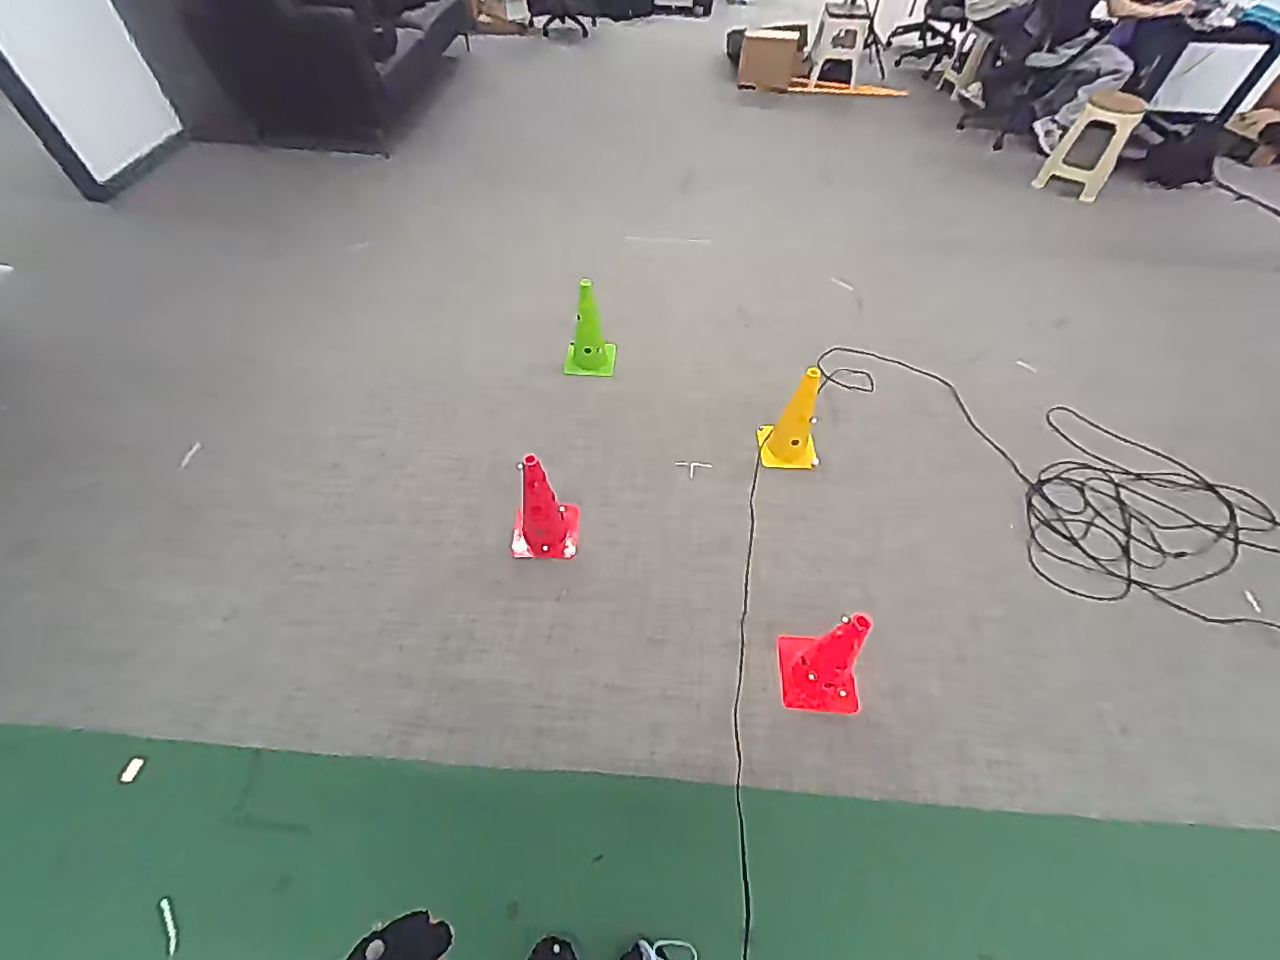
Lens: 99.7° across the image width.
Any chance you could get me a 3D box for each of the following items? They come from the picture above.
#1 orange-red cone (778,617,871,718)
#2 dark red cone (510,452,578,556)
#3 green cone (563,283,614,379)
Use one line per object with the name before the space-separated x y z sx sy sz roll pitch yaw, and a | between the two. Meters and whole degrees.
orange-red cone | 0.483 0.424 1.327 0.198 0.360 0.199 5 51 1
dark red cone | -0.294 0.054 1.565 0.202 0.394 0.201 0 53 -2
green cone | -0.205 -0.594 2.104 0.202 0.368 0.200 3 52 -1
